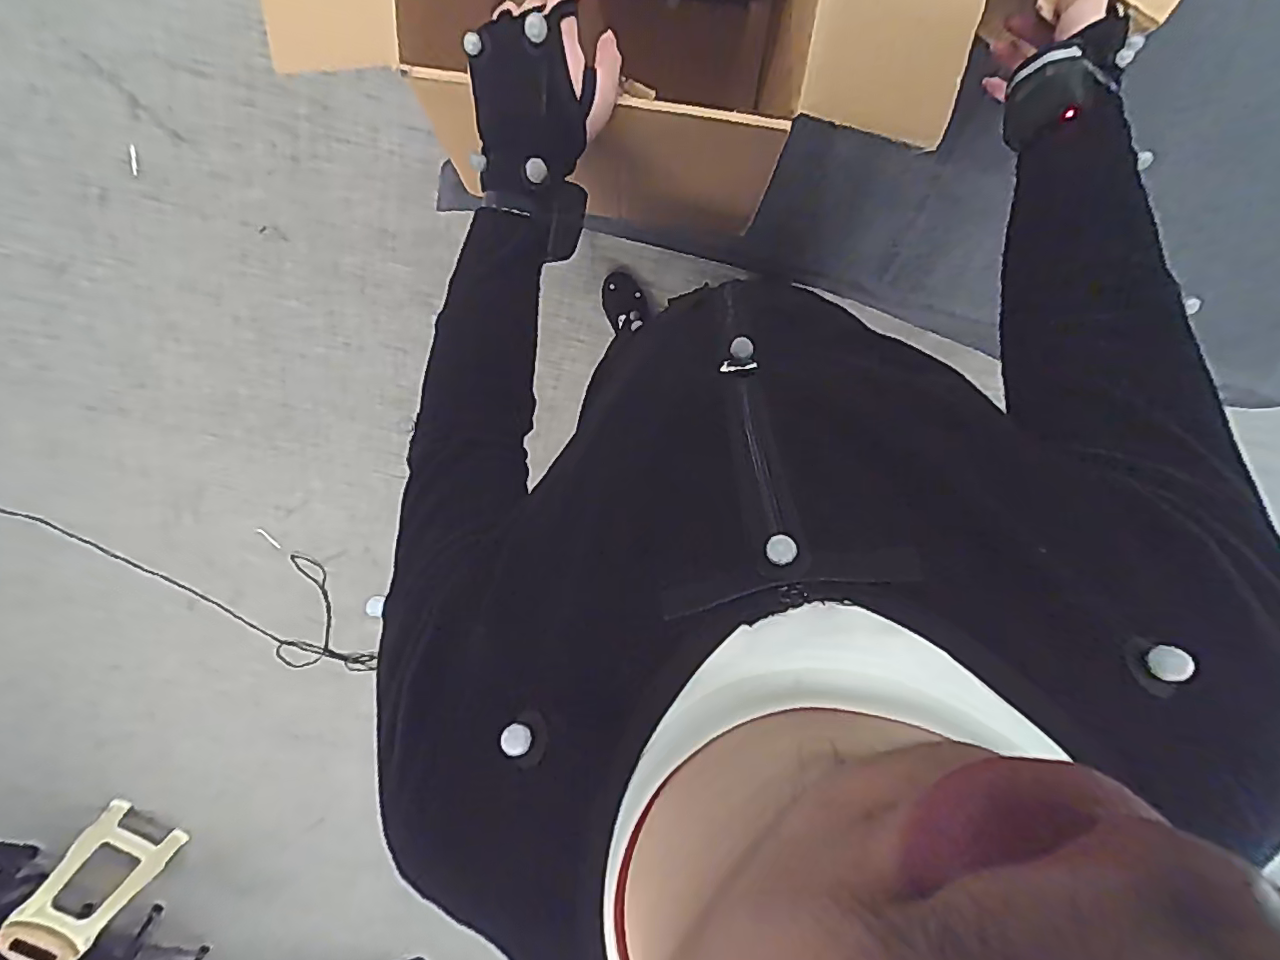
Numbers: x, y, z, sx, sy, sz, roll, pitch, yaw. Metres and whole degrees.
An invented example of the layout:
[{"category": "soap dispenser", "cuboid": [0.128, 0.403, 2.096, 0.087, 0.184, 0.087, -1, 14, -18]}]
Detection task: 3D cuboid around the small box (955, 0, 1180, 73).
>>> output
[{"category": "small box", "cuboid": [0.444, -0.545, 0.523, 0.168, 0.176, 0.179, 26, 111, -9]}]
